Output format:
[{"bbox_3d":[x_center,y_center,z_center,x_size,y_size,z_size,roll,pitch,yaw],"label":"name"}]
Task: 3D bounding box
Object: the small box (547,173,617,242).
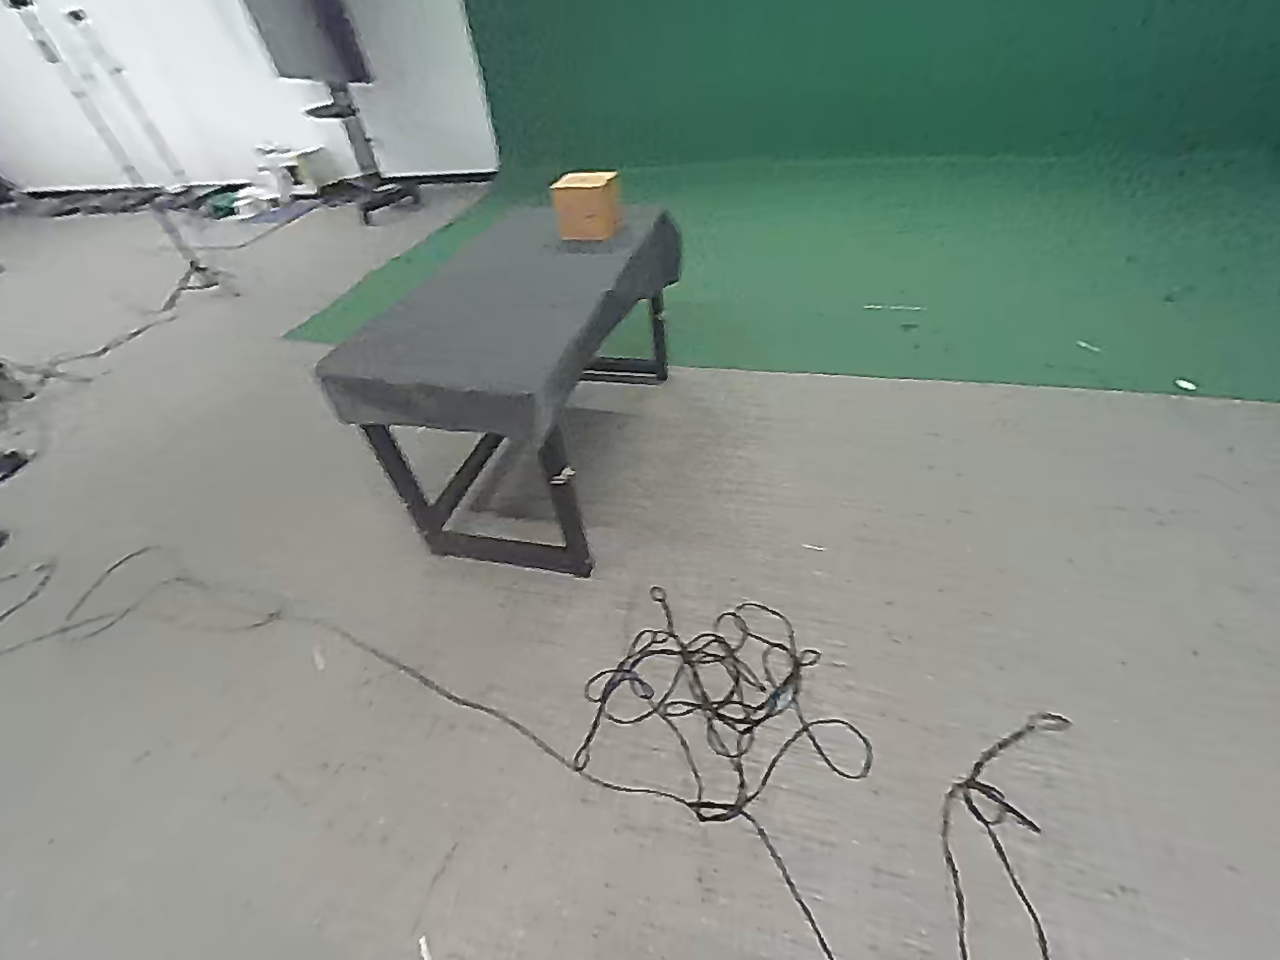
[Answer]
[{"bbox_3d":[-0.187,-0.918,1.826,0.179,0.176,0.168,6,44,16],"label":"small box"}]
